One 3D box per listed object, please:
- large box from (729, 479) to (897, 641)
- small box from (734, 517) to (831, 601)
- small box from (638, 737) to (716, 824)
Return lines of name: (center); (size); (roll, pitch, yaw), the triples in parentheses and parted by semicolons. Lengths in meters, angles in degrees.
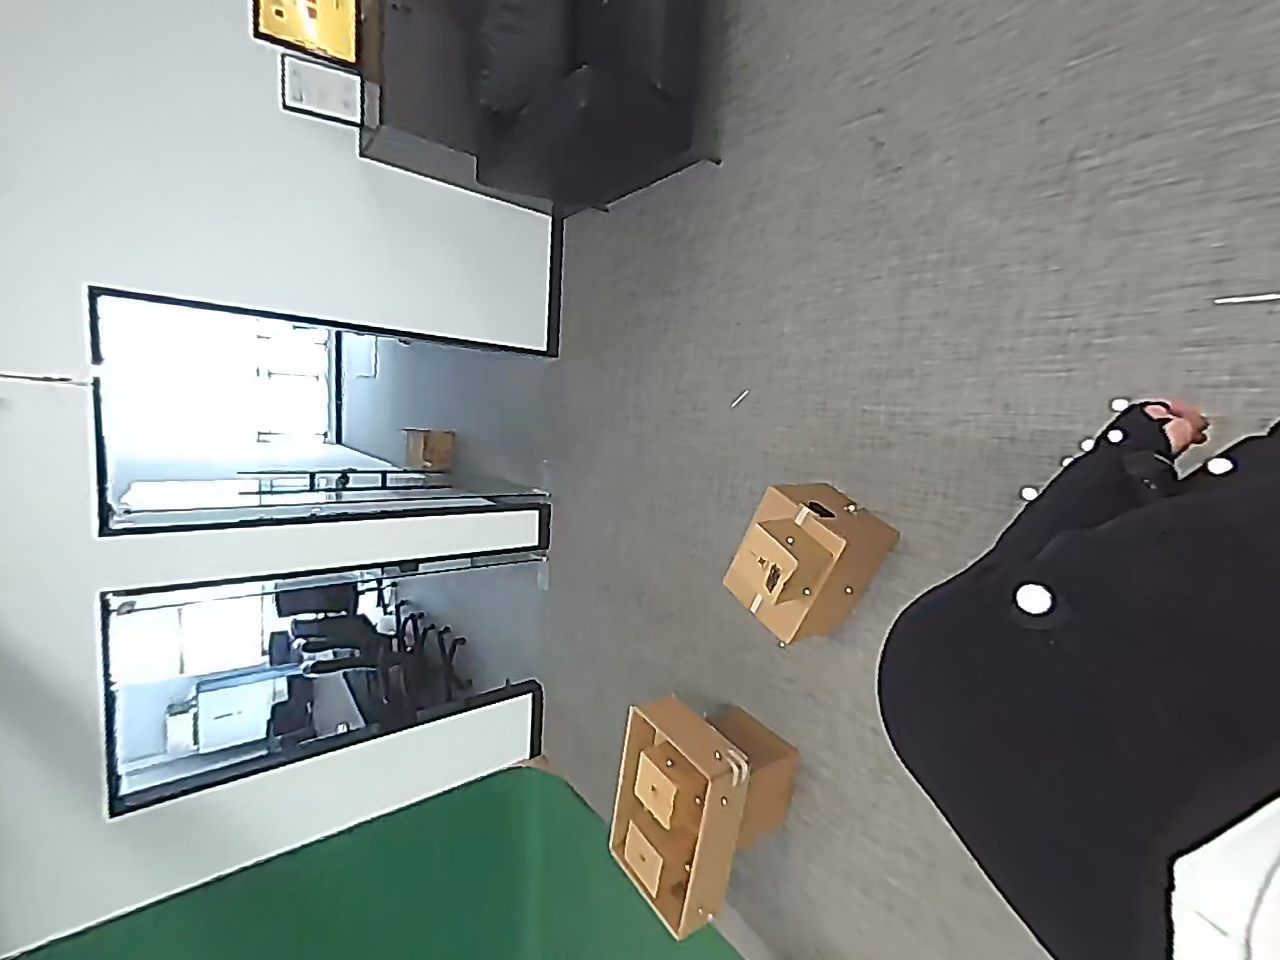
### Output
large box: (0.560, 0.244, 1.779); (0.320, 0.320, 0.408); (43, 124, 42)
small box: (0.415, 0.220, 1.566); (0.179, 0.176, 0.168); (46, 125, 38)
small box: (0.122, 0.984, 1.796); (0.179, 0.176, 0.168); (22, 109, 47)
